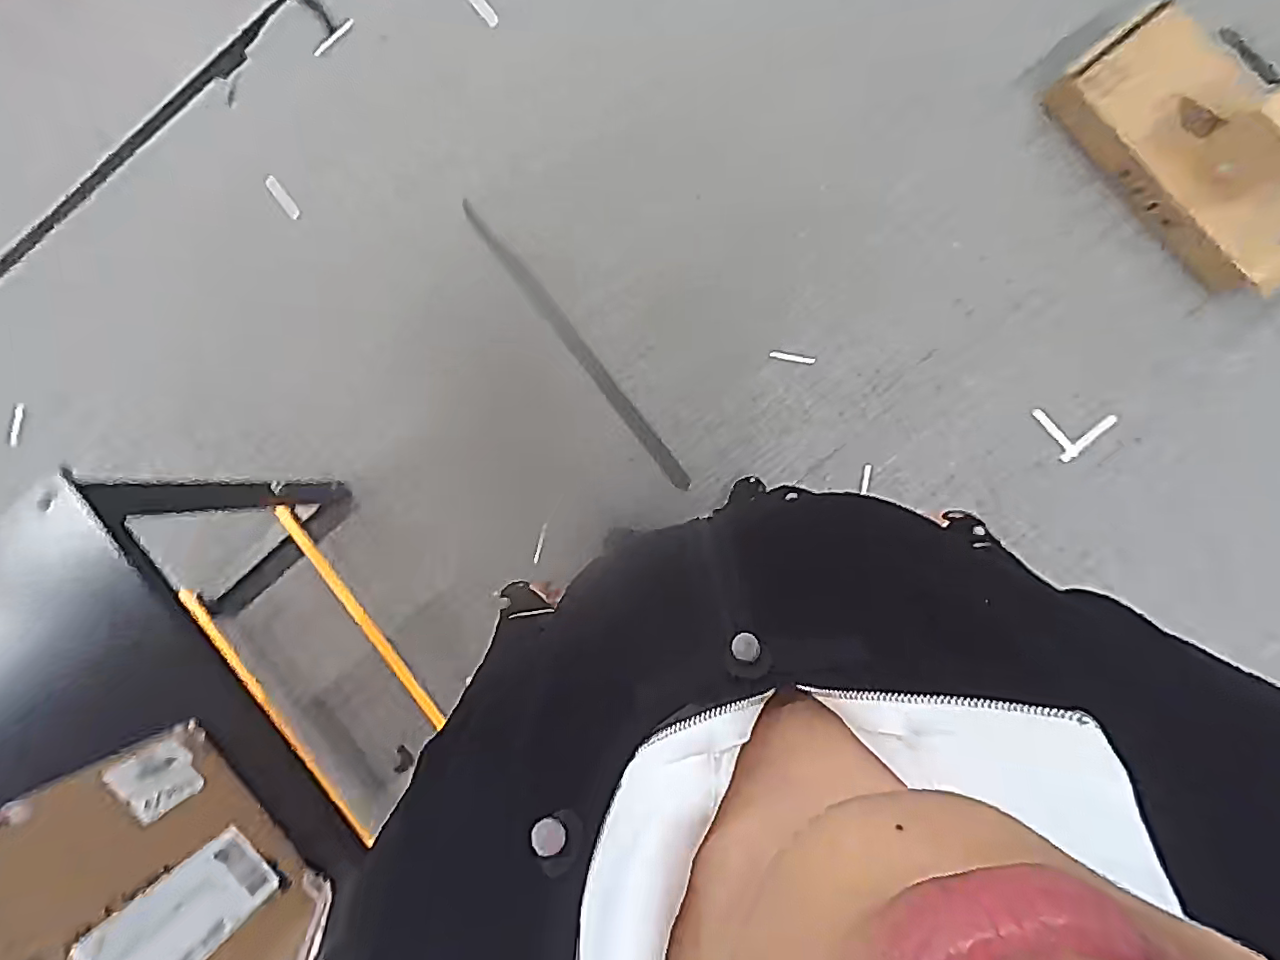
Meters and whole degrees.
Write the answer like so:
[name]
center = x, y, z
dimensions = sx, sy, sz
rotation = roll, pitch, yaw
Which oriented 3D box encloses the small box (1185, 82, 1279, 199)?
[small box]
center = 1.426, -0.789, 1.227
dimensions = 0.179, 0.176, 0.168
rotation = -35, 87, 4
